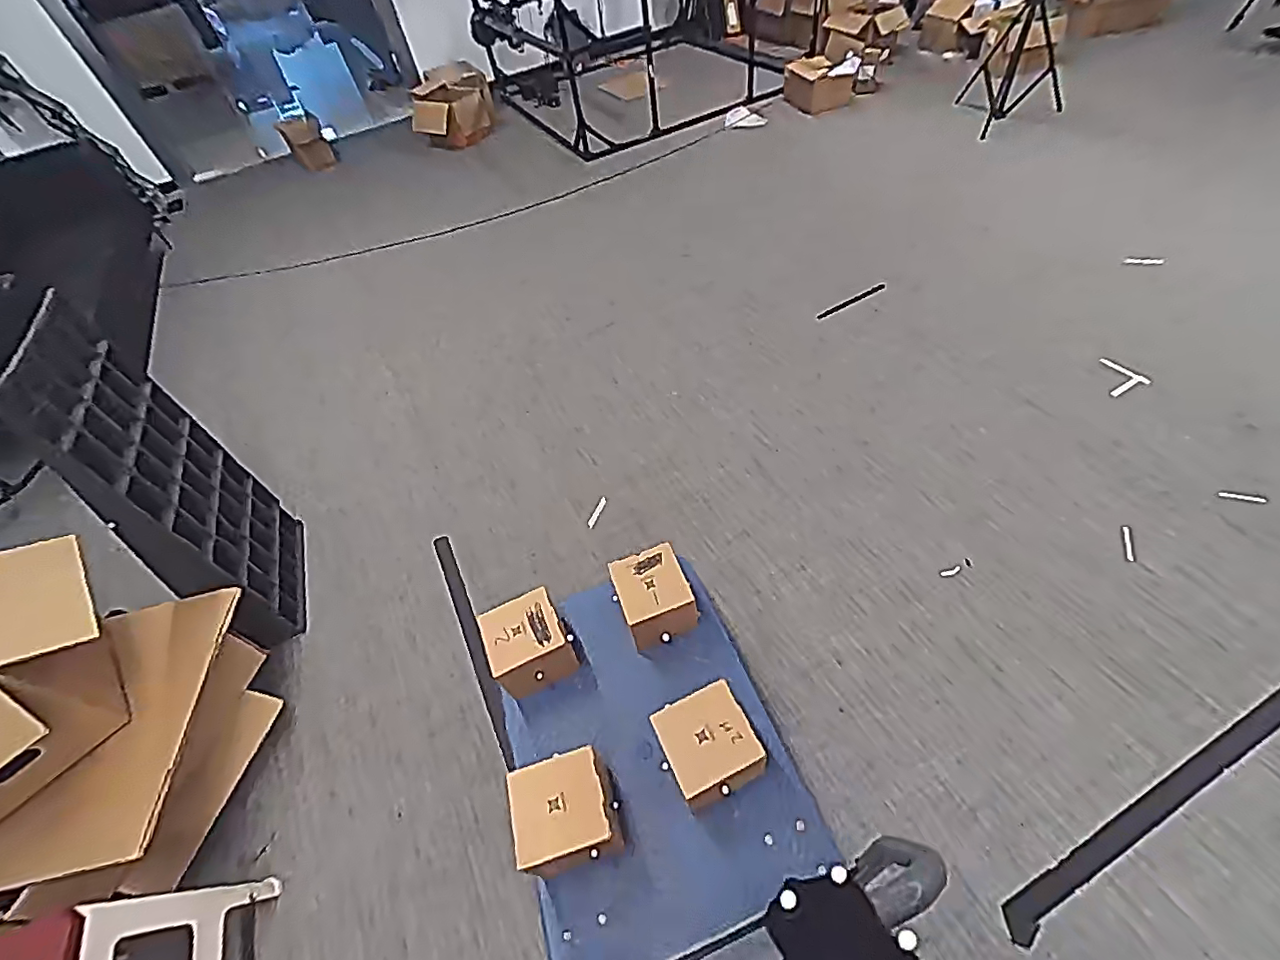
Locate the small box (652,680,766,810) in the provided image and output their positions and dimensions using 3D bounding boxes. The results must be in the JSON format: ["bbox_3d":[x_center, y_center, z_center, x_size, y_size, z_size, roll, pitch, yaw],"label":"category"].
[{"bbox_3d":[0.143,0.550,1.115,0.179,0.176,0.168,-23,51,-9],"label":"small box"}]

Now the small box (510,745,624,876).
[{"bbox_3d":[-0.143,0.660,1.075,0.179,0.176,0.168,-17,49,-6],"label":"small box"}]

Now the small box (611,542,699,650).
[{"bbox_3d":[0.039,0.291,1.346,0.168,0.176,0.179,-20,52,-6],"label":"small box"}]
